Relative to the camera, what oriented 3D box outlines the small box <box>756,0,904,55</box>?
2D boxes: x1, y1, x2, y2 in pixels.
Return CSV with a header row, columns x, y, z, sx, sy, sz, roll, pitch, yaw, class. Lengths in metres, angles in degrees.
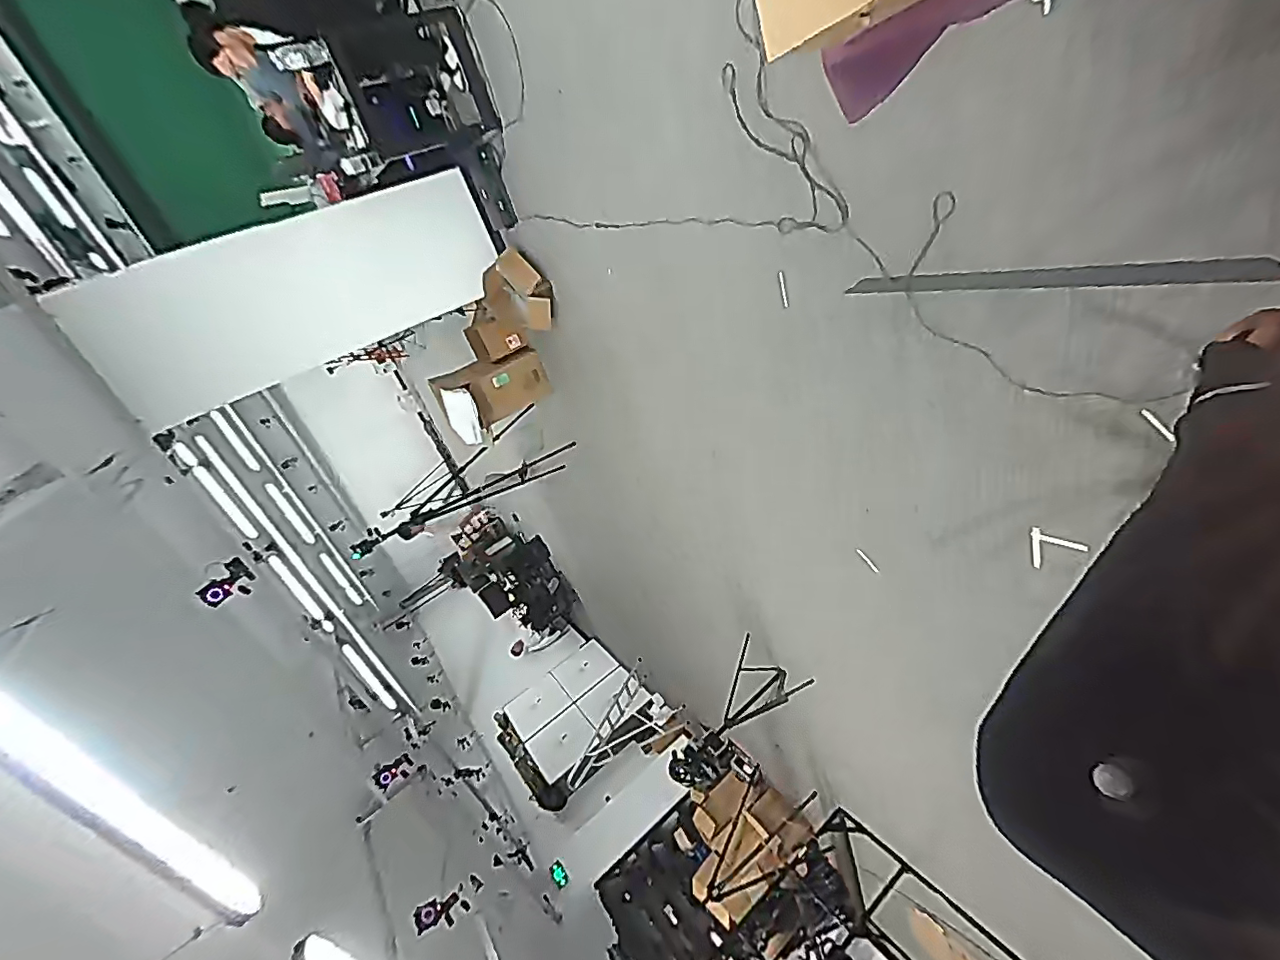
x,y,z,sx,sy,sz,roll,pitch,yaw,class
0.258,-0.677,0.678,0.179,0.176,0.168,18,136,54,small box
